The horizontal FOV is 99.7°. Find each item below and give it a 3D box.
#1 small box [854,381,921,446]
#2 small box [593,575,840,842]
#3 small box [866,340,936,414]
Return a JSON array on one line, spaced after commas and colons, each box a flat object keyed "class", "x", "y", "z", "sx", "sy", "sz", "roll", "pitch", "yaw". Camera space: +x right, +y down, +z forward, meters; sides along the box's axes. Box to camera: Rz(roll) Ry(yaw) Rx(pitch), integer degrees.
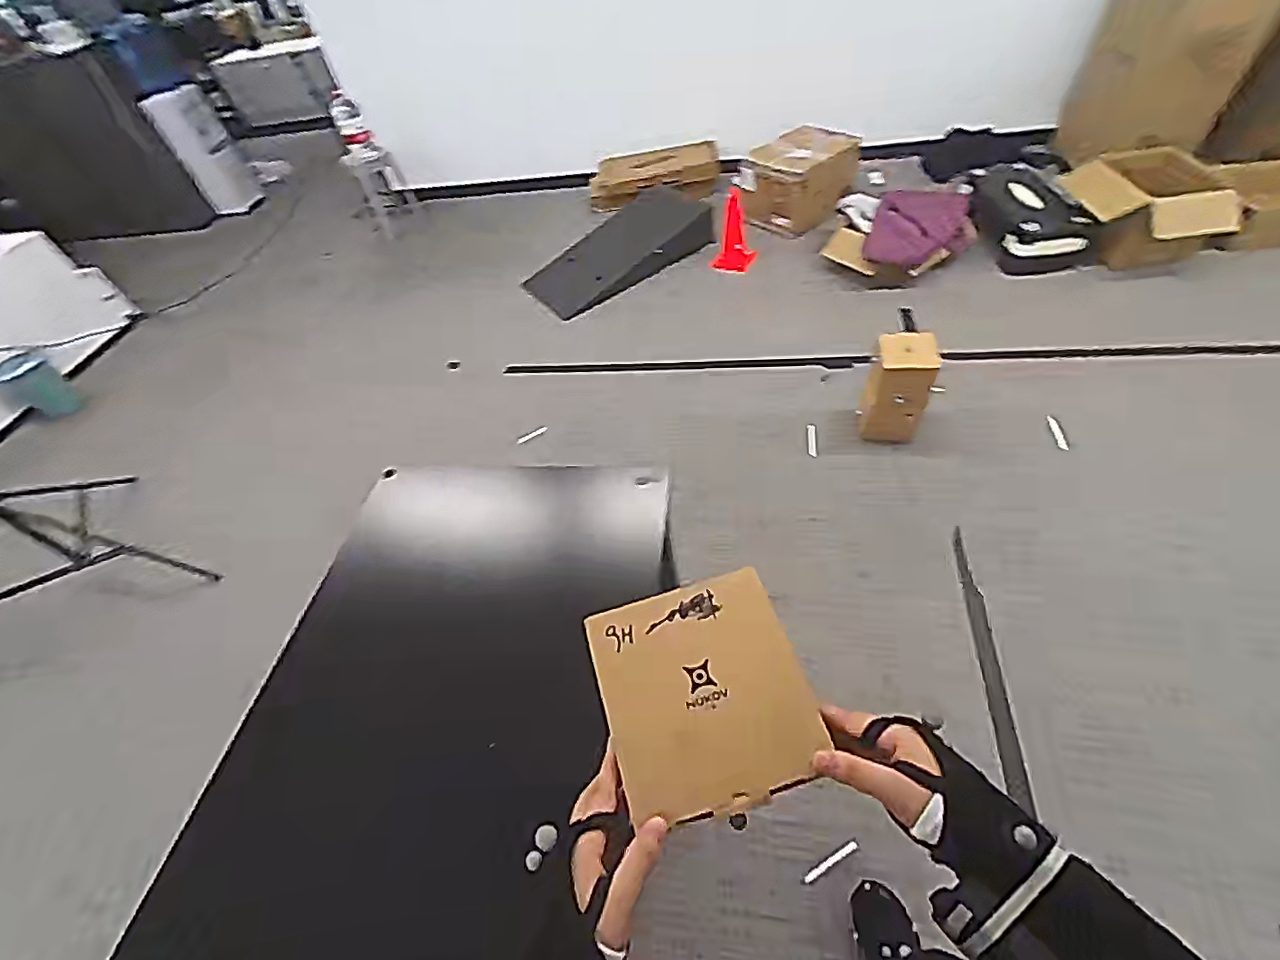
[{"class": "small box", "x": 0.868, "y": -0.233, "z": 1.908, "sx": 0.179, "sy": 0.176, "sz": 0.168, "roll": 2, "pitch": 51, "yaw": 13}, {"class": "small box", "x": 0.064, "y": 0.219, "z": 0.522, "sx": 0.168, "sy": 0.176, "sz": 0.179, "roll": -16, "pitch": 59, "yaw": -4}, {"class": "small box", "x": 0.853, "y": -0.340, "z": 1.786, "sx": 0.168, "sy": 0.176, "sz": 0.179, "roll": 1, "pitch": 52, "yaw": 12}]
